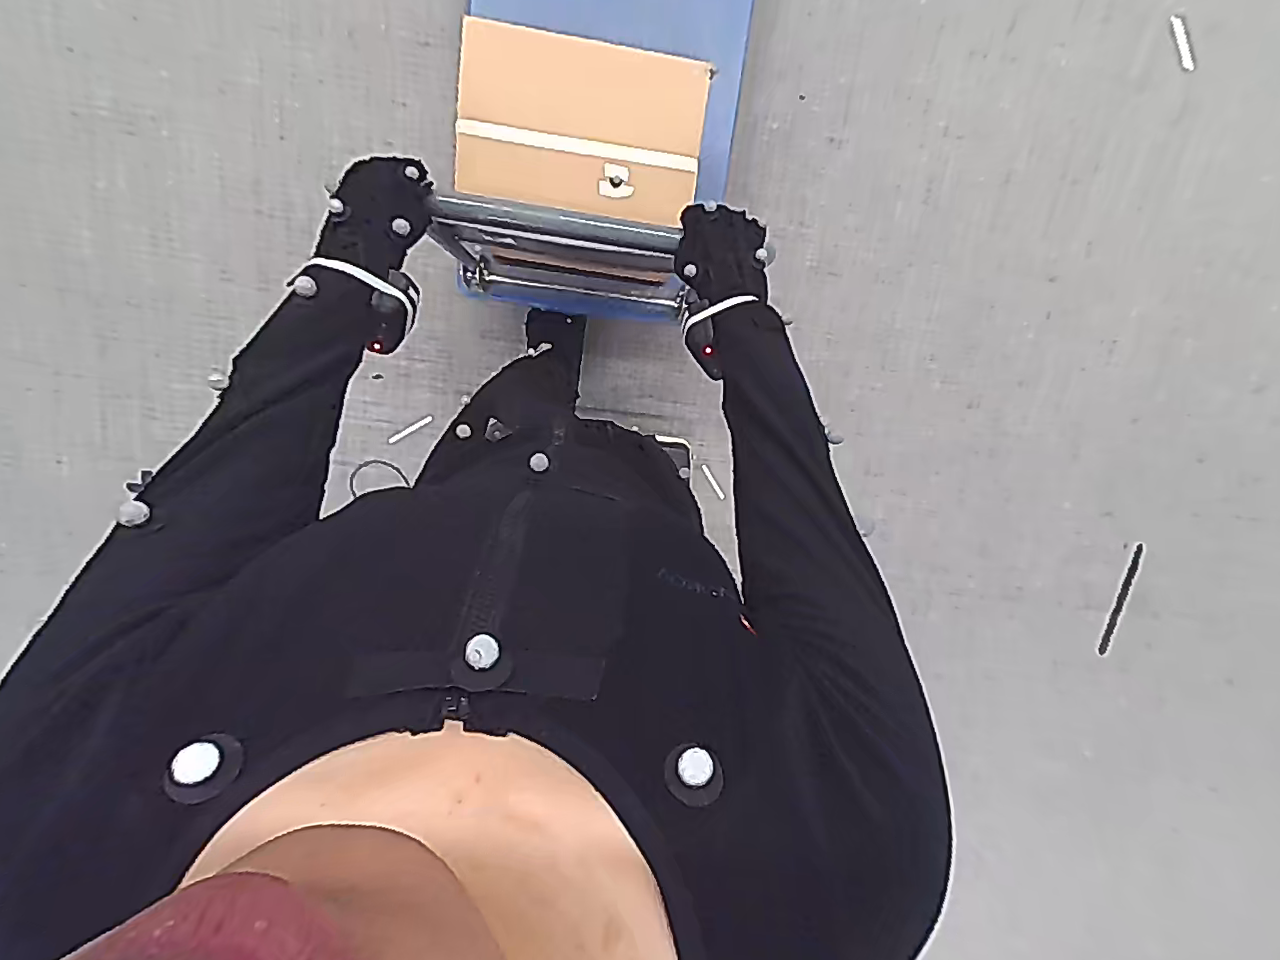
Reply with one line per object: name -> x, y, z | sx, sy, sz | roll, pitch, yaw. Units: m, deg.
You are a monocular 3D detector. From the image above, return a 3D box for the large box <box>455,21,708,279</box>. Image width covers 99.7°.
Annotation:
large box -> -0.115, -0.592, 1.045 | 0.408, 0.320, 0.320 | 6, 104, -6
